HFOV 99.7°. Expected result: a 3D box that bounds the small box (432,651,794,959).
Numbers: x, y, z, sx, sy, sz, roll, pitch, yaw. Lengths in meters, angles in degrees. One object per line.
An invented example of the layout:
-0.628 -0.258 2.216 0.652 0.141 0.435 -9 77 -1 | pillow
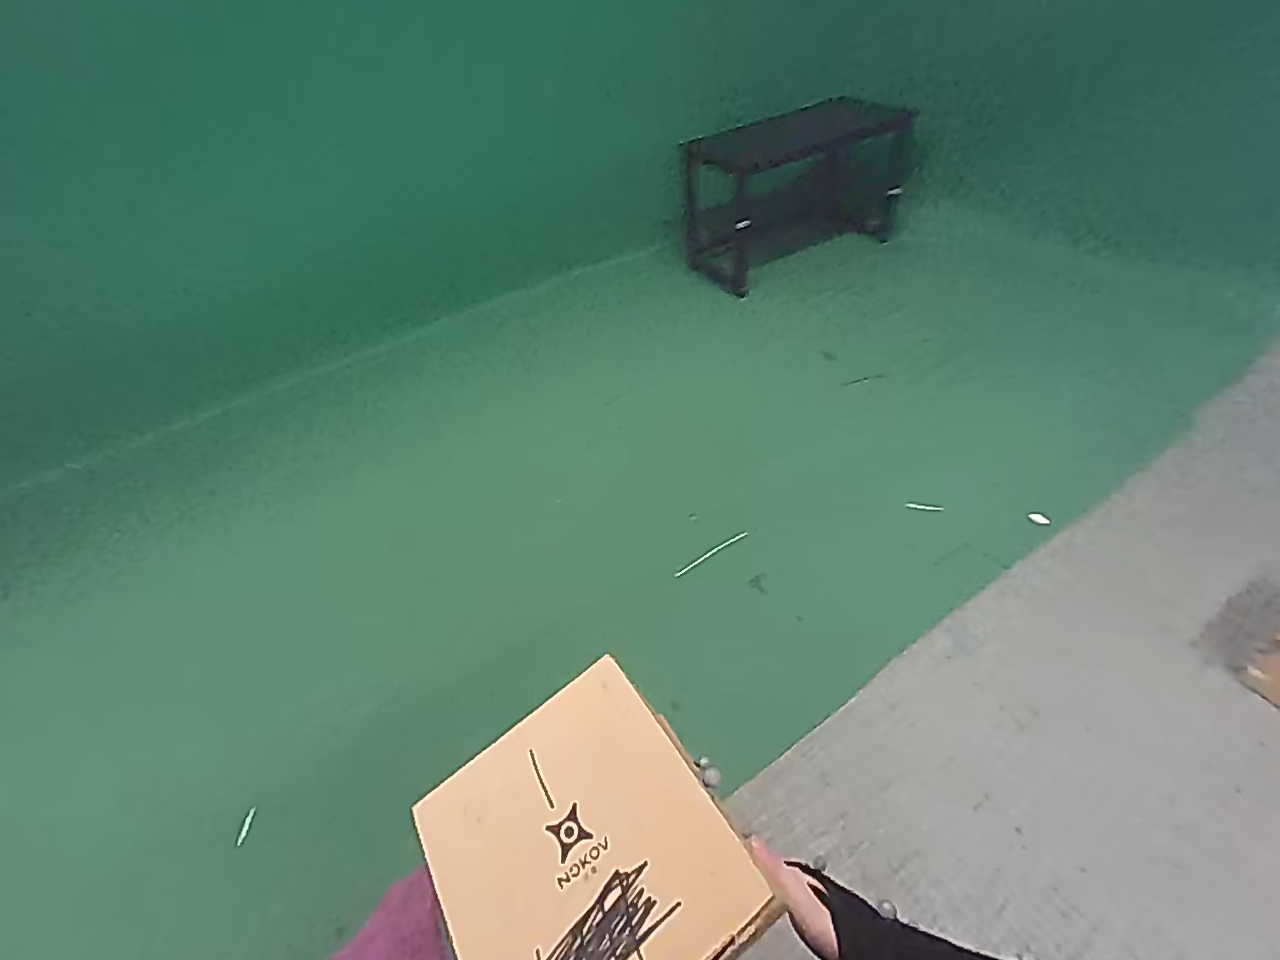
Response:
-0.009 0.262 0.381 0.168 0.176 0.179 -34 51 -11 | small box
